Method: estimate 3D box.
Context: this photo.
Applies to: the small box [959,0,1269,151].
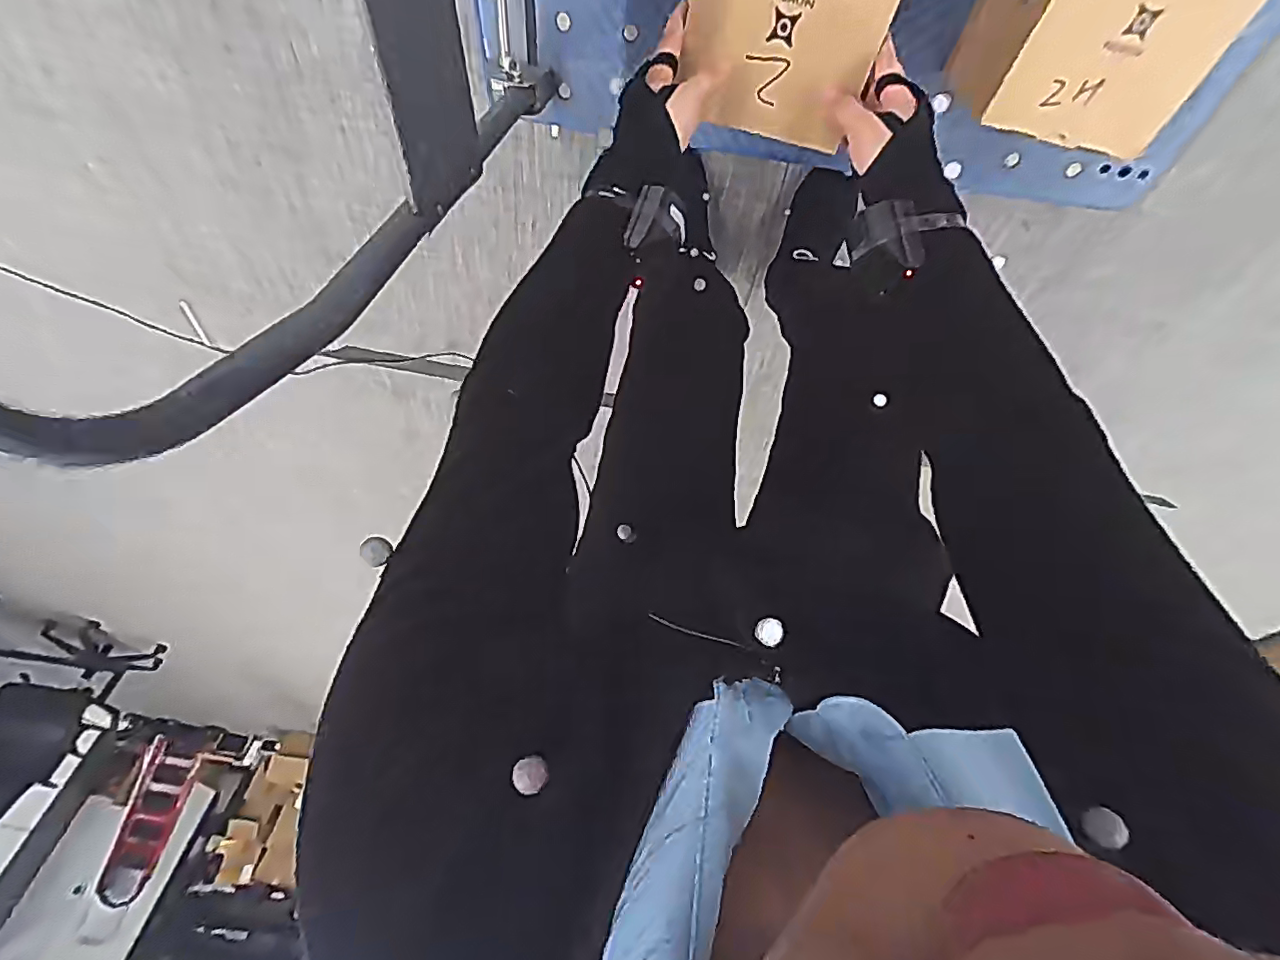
[{"bbox_3d":[0.442,-0.455,0.514,0.168,0.176,0.179,12,141,-3],"label":"small box"}]
